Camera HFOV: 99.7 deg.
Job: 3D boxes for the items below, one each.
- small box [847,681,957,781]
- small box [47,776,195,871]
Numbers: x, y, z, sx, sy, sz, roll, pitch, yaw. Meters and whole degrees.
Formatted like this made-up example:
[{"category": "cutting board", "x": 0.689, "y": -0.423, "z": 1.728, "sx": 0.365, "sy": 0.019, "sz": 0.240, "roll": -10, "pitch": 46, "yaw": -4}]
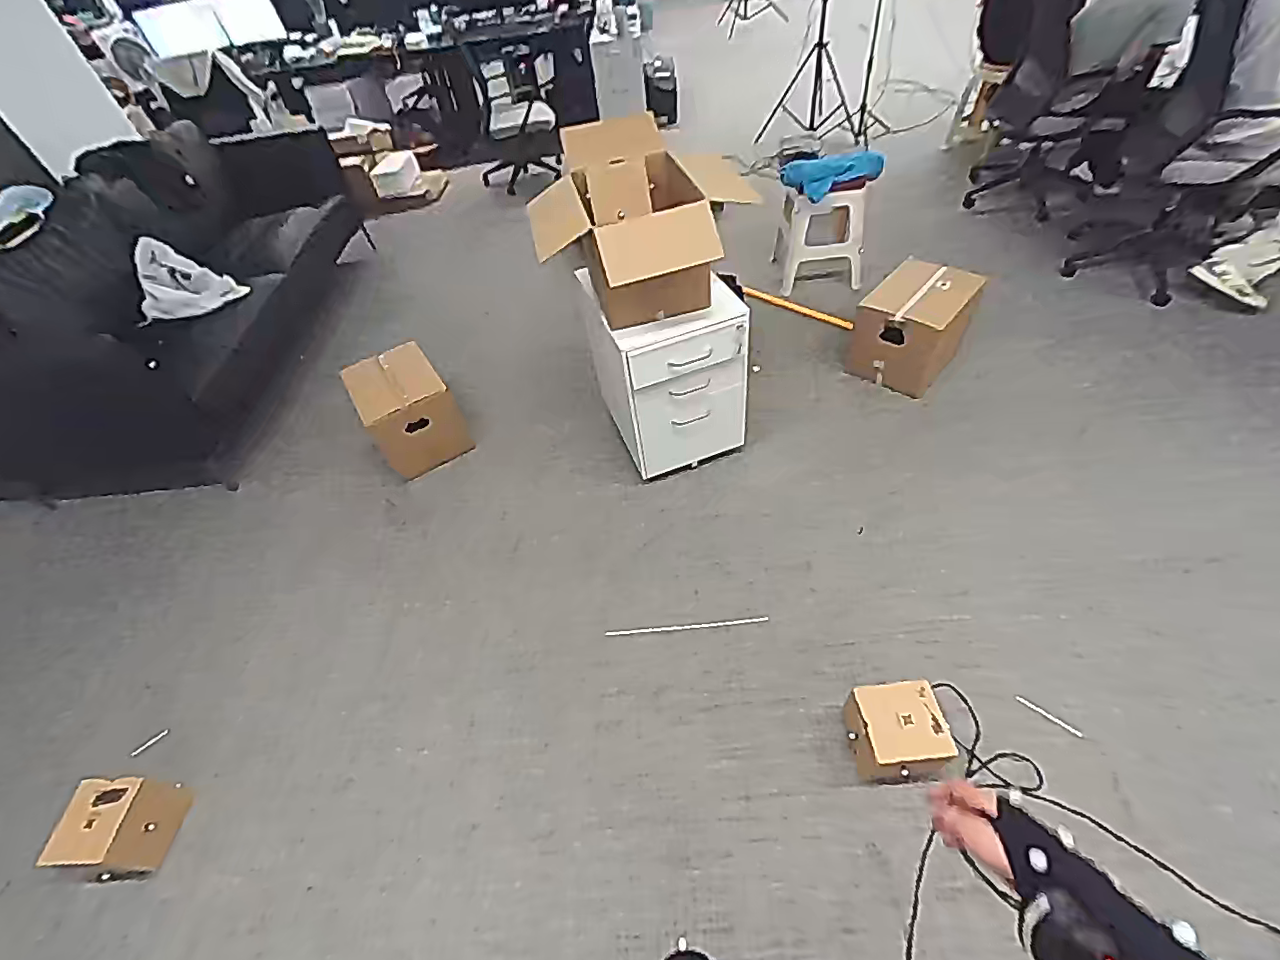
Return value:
[{"category": "small box", "x": 0.593, "y": 0.587, "z": 1.257, "sx": 0.179, "sy": 0.176, "sz": 0.168, "roll": -8, "pitch": 49, "yaw": 3}, {"category": "small box", "x": -1.263, "y": 0.851, "z": 1.337, "sx": 0.168, "sy": 0.176, "sz": 0.179, "roll": -5, "pitch": 49, "yaw": 5}]
